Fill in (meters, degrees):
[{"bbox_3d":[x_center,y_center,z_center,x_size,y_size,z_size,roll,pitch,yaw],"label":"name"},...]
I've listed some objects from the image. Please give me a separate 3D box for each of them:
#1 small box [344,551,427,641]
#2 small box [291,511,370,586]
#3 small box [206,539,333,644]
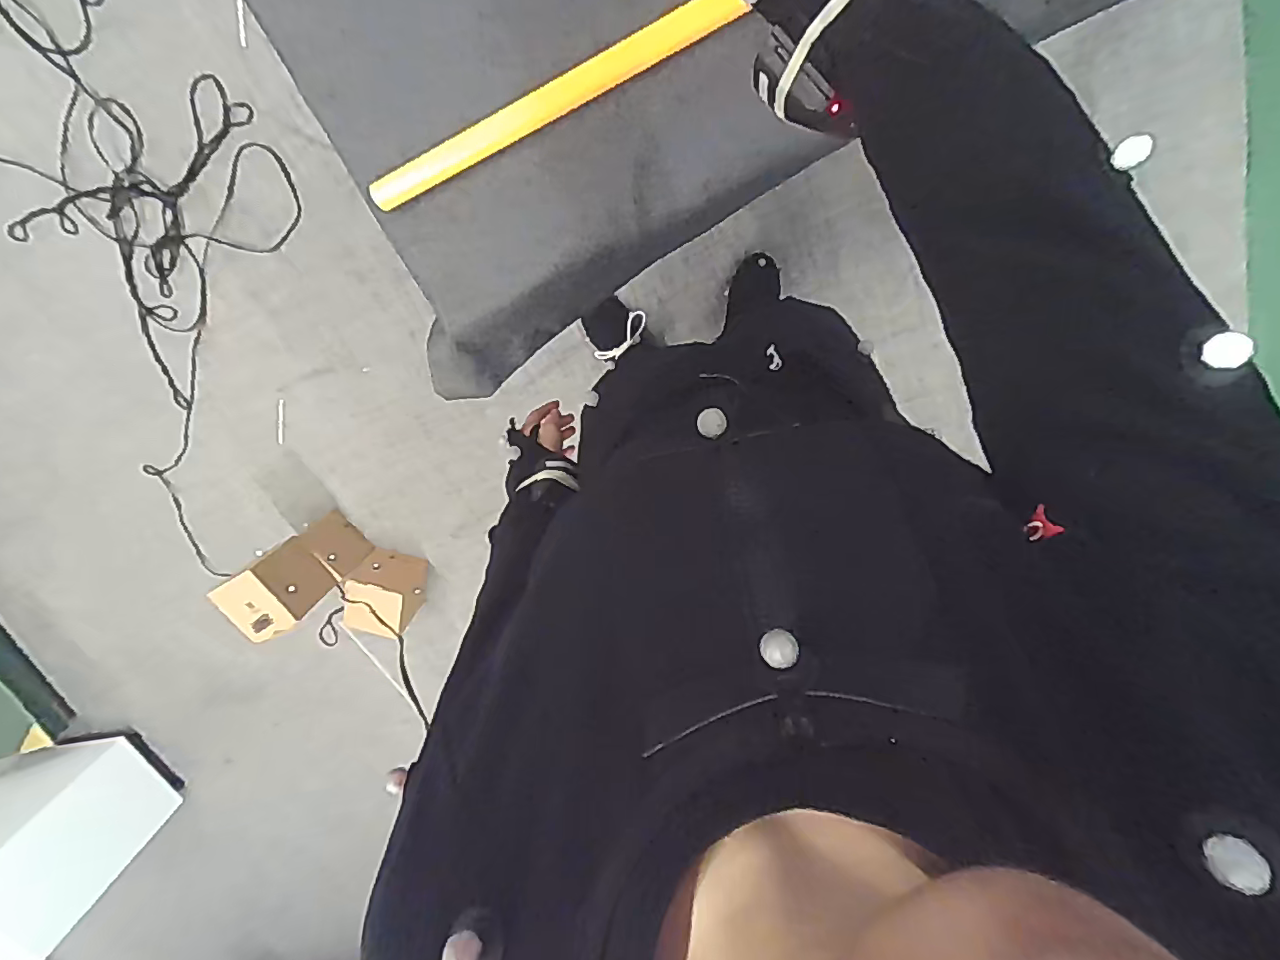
[{"bbox_3d":[-0.745,0.337,1.595,0.168,0.176,0.179,16,117,-1],"label":"small box"},{"bbox_3d":[-0.924,0.222,1.555,0.179,0.176,0.168,-31,108,19],"label":"small box"},{"bbox_3d":[-0.950,0.286,1.405,0.168,0.176,0.179,-26,109,16],"label":"small box"}]
